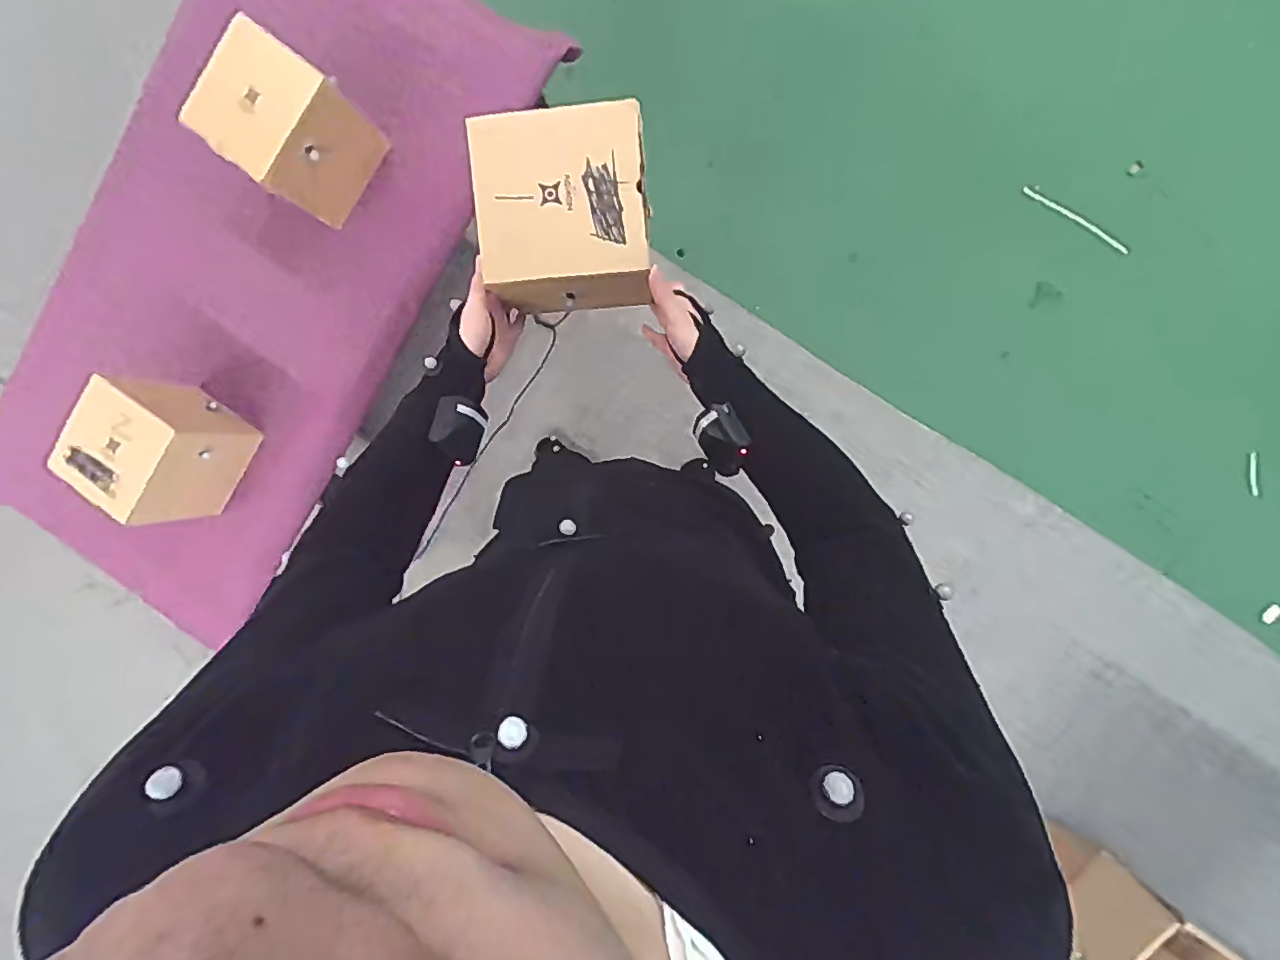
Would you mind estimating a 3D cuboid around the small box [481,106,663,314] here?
[{"bbox_3d":[-0.066,-0.293,0.623,0.179,0.176,0.168,-3,96,2],"label":"small box"}]

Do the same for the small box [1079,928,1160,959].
[{"bbox_3d":[1.007,1.065,1.073,0.168,0.176,0.179,35,96,2],"label":"small box"}]

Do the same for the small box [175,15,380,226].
[{"bbox_3d":[-0.541,-0.538,0.837,0.168,0.176,0.179,37,98,2],"label":"small box"}]
